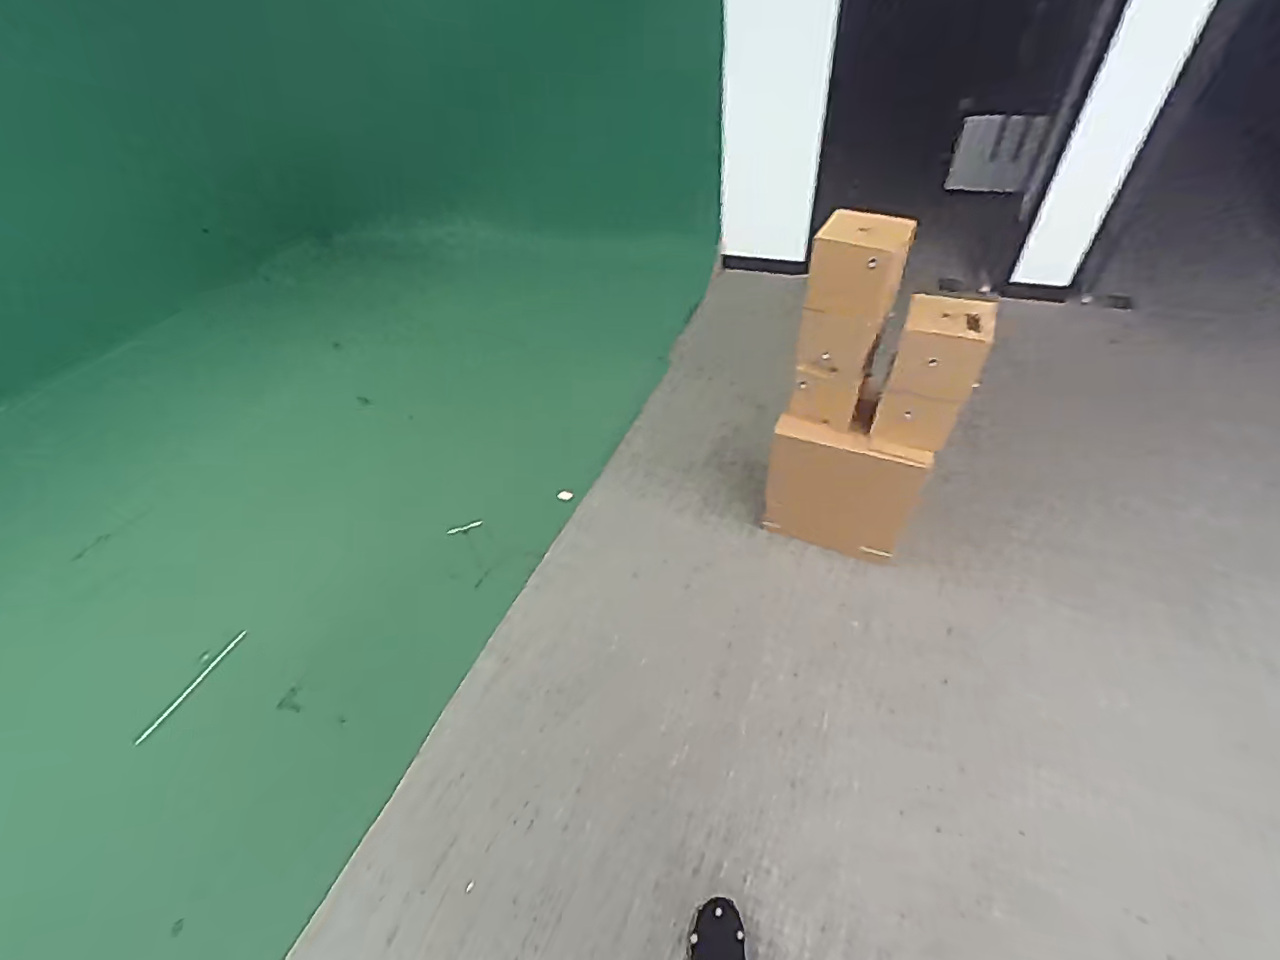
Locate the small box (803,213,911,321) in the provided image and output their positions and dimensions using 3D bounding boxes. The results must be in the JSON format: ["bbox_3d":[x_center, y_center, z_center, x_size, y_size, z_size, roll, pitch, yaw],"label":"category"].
[{"bbox_3d":[0.491,-0.487,1.242,0.179,0.176,0.168,22,54,23],"label":"small box"}]

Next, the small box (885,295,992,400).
[{"bbox_3d":[0.698,-0.309,1.272,0.179,0.176,0.168,15,51,22],"label":"small box"}]
